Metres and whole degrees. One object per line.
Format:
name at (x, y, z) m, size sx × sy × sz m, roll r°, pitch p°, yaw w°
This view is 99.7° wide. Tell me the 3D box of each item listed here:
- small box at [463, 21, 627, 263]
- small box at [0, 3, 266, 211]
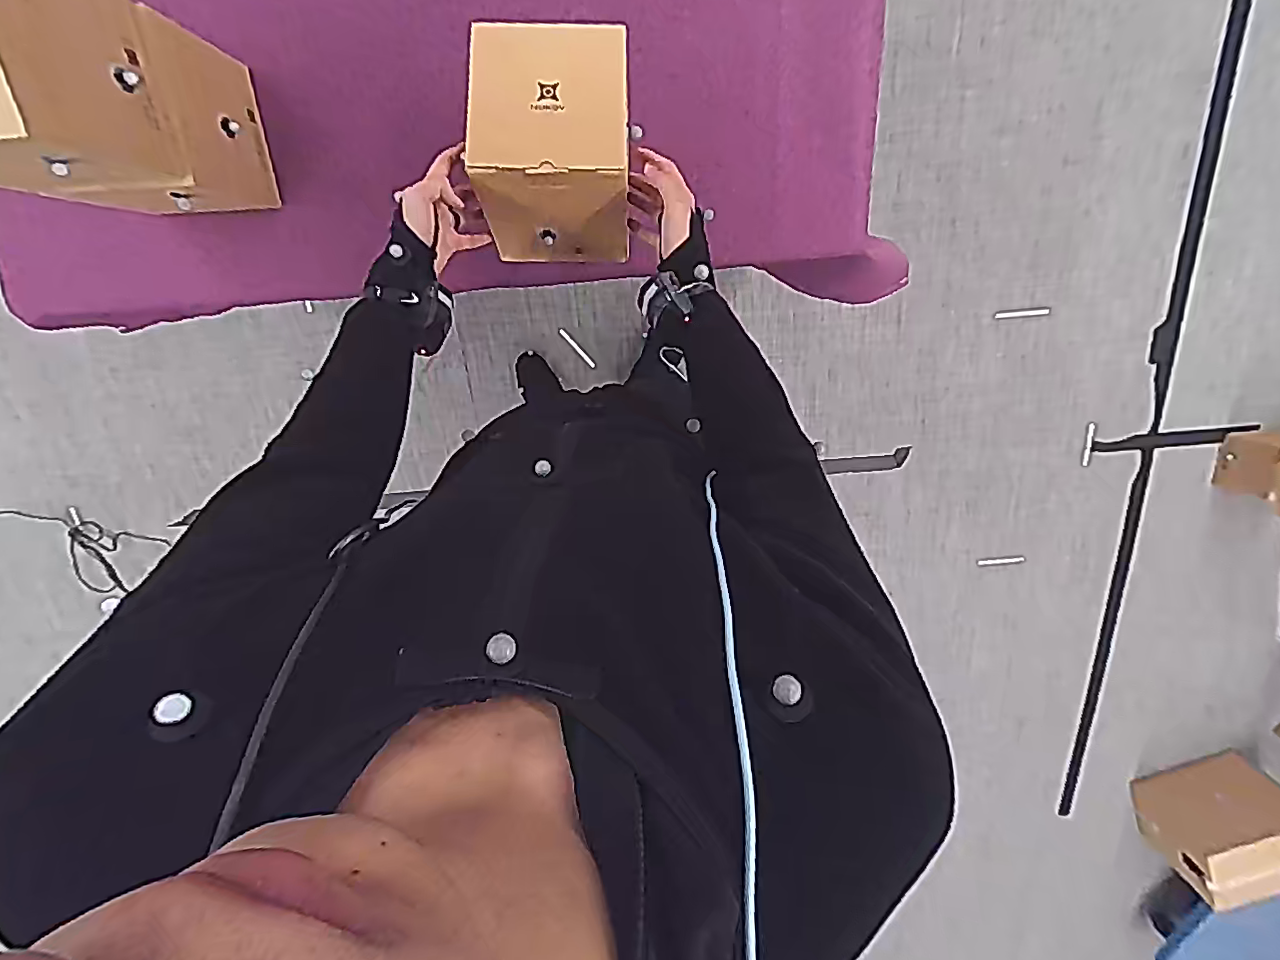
small box at (-0.100, -0.383, 0.636) m, size 0.168 × 0.176 × 0.179 m, roll 0°, pitch 82°, yaw -2°
small box at (-0.580, -0.419, 0.634) m, size 0.179 × 0.176 × 0.168 m, roll -3°, pitch 109°, yaw -1°
